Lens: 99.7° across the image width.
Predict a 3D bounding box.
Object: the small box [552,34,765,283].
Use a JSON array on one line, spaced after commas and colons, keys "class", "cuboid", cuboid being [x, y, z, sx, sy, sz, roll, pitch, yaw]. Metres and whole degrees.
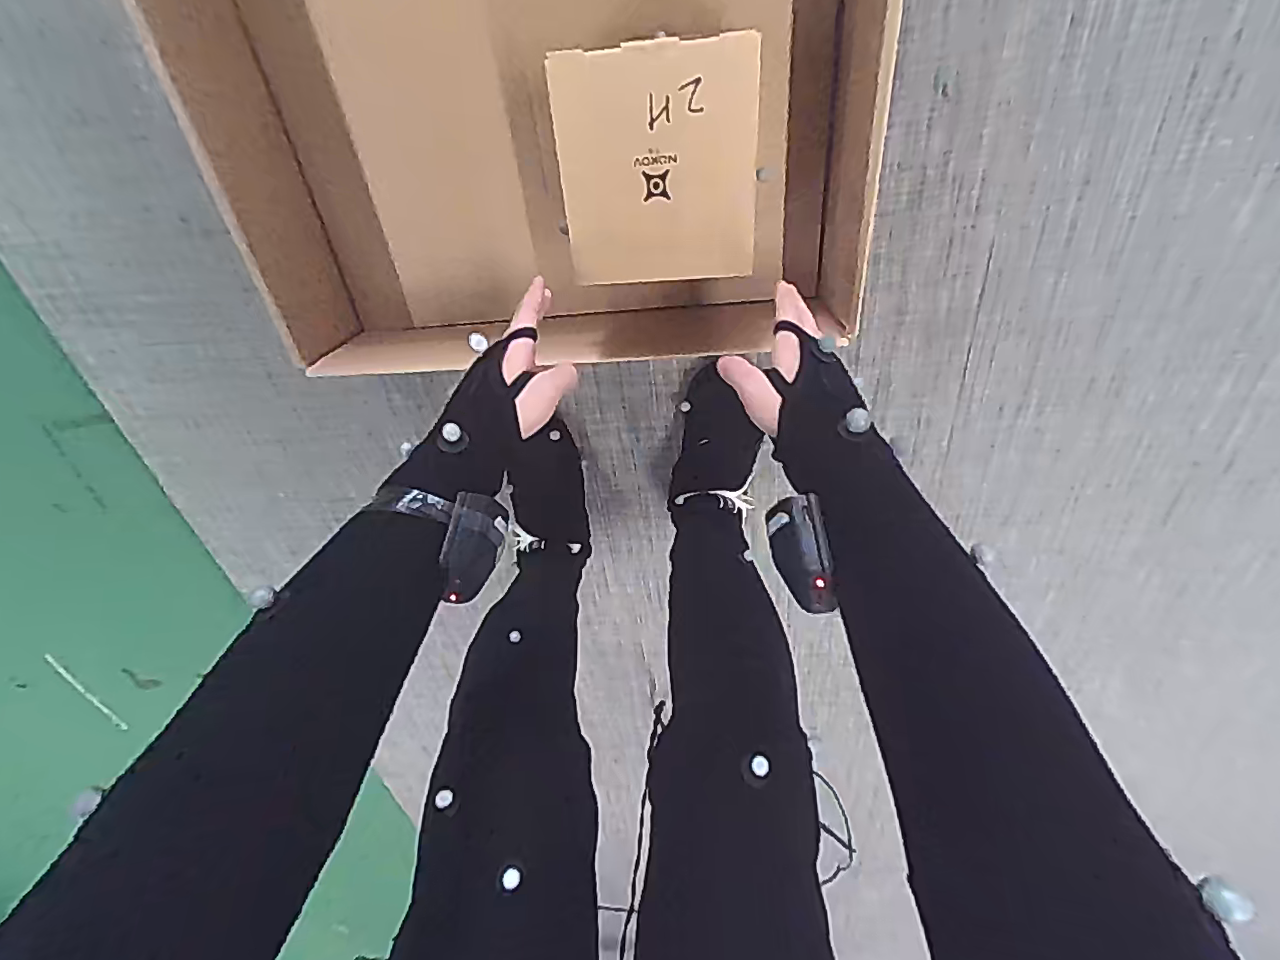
[{"class": "small box", "cuboid": [0.025, -0.302, 0.518, 0.168, 0.176, 0.179, 0, 123, 6]}]
